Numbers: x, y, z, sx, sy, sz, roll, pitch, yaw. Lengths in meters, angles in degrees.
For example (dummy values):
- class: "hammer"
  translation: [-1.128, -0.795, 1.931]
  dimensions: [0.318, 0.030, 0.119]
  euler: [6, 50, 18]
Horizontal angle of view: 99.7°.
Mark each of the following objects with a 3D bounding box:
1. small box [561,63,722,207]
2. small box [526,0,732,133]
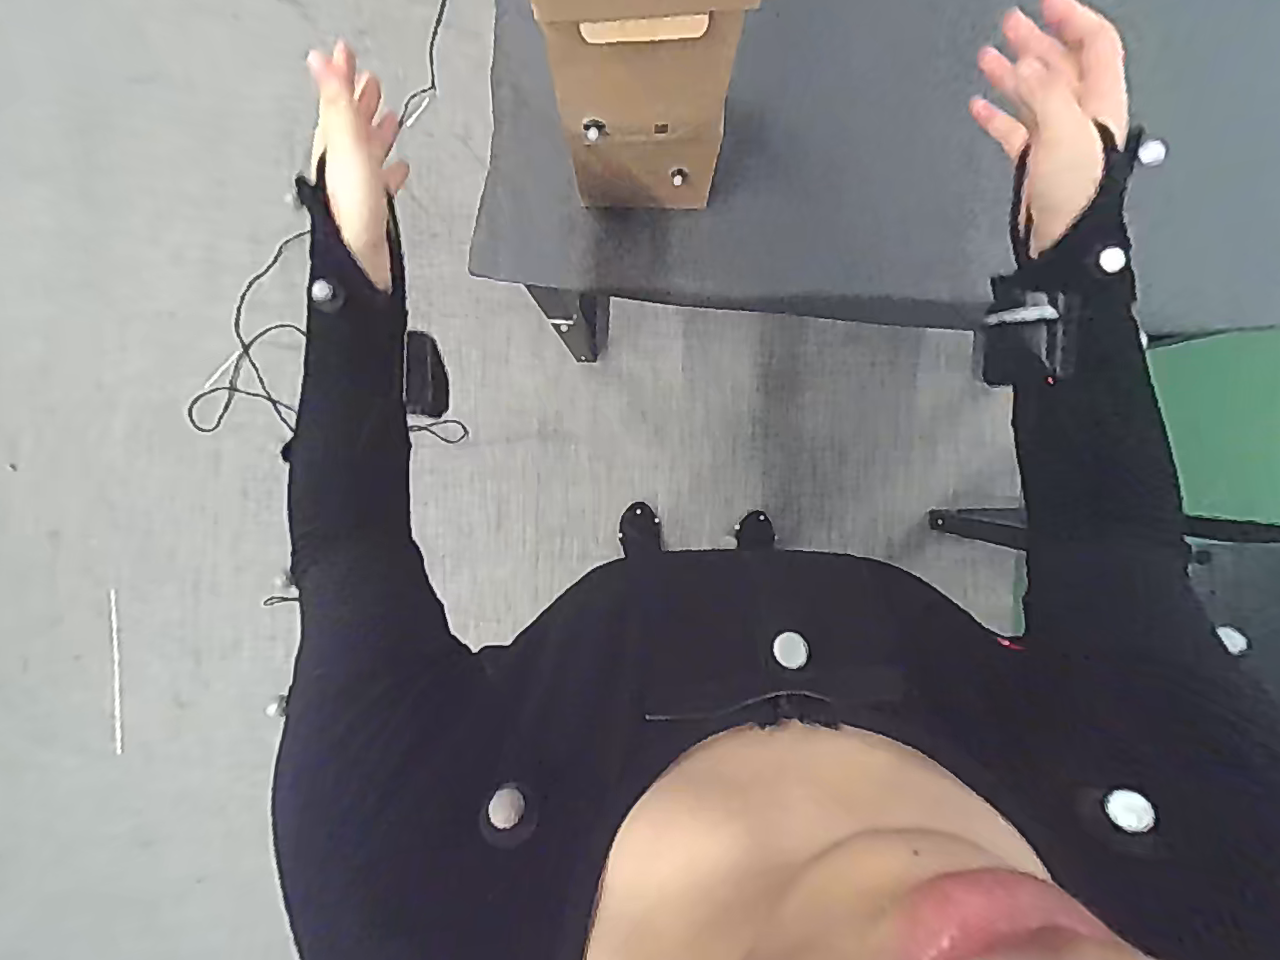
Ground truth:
- class: "small box"
  translation: [0.003, -0.457, 0.665]
  dimensions: [0.179, 0.176, 0.168]
  euler: [0, 90, 2]
- class: "small box"
  translation: [-0.010, -0.452, 0.500]
  dimensions: [0.168, 0.176, 0.179]
  euler: [-3, 89, 0]
